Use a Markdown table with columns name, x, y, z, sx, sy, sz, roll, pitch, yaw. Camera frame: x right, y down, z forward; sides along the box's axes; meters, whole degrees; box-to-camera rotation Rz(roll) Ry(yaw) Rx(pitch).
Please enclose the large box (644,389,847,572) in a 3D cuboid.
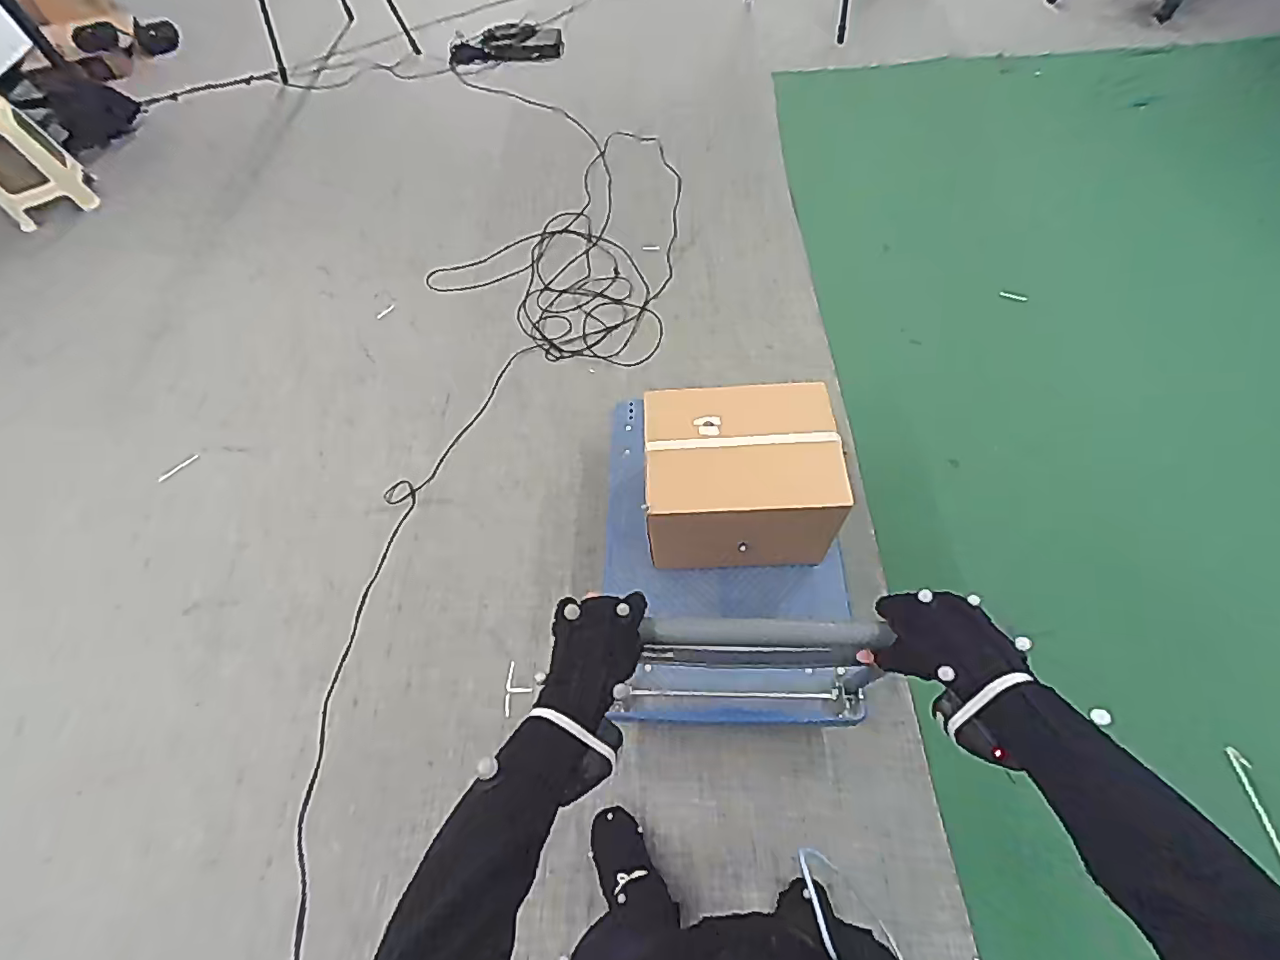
| name | x | y | z | sx | sy | sz | roll | pitch | yaw |
| --- | --- | --- | --- | --- | --- | --- | --- | --- | --- |
| large box | 0.224 | 0.014 | 1.276 | 0.408 | 0.320 | 0.320 | -3 | 59 | 4 |
